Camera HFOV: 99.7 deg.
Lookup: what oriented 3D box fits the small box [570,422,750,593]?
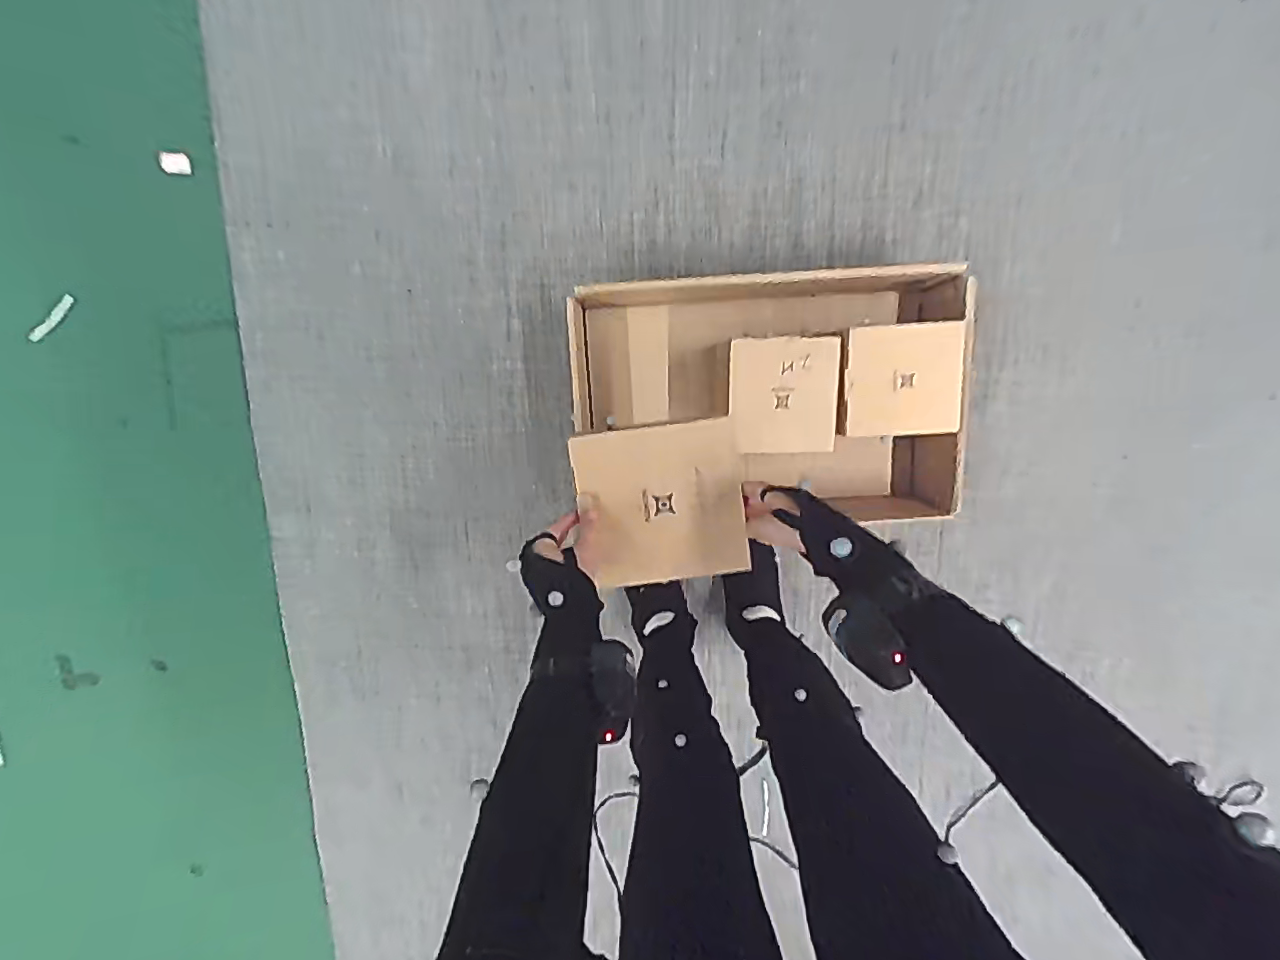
[{"bbox_3d":[0.023,0.022,0.639,0.179,0.176,0.168,-7,97,1],"label":"small box"}]
